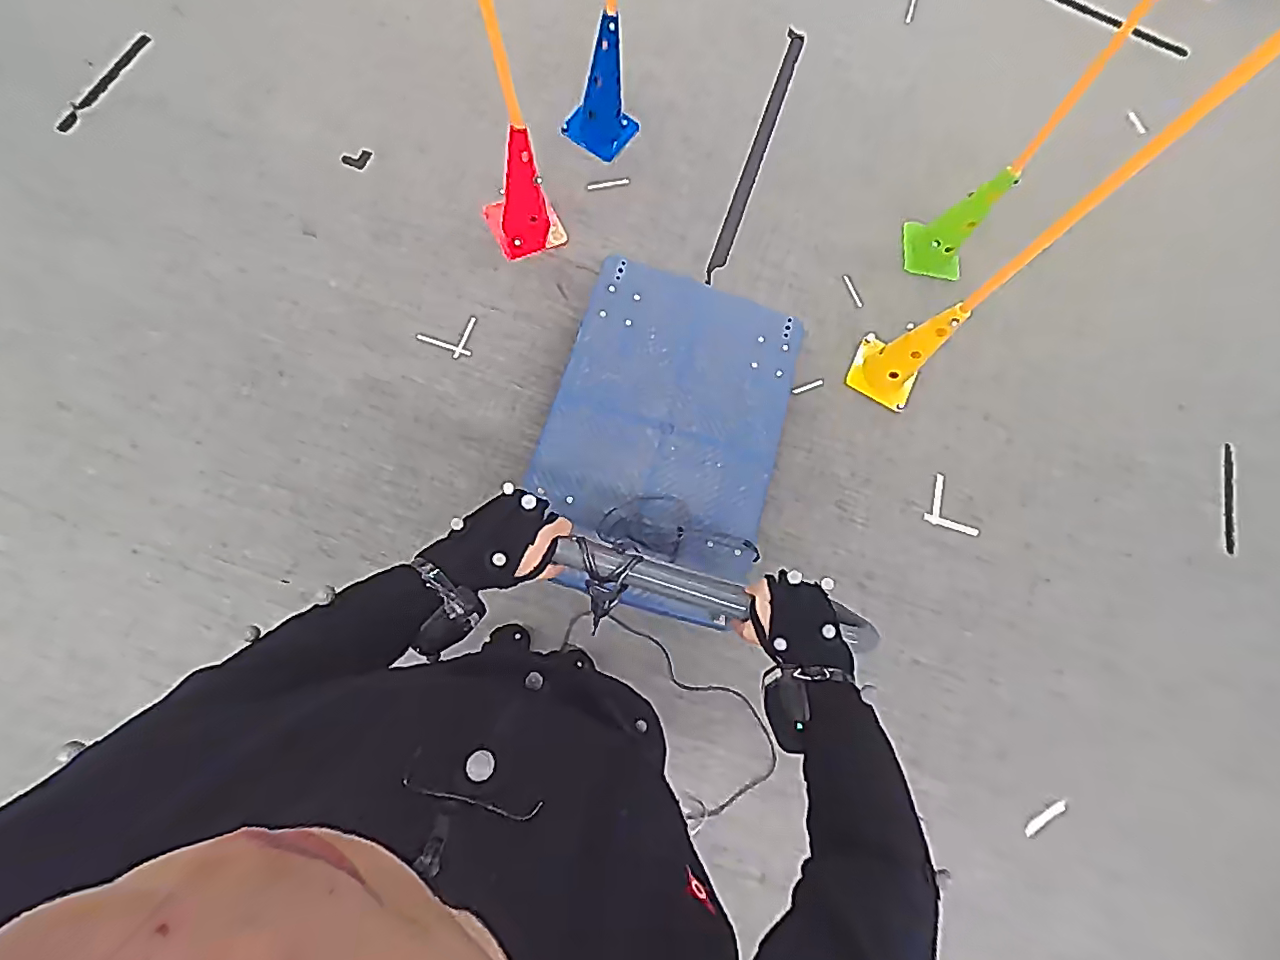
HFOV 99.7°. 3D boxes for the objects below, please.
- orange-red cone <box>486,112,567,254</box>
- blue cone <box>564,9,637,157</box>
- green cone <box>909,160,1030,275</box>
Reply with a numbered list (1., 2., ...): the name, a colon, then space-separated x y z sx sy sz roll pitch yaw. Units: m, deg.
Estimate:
1. orange-red cone: -0.311 -0.821 1.454 0.199 0.360 0.198 -24 81 -15
2. blue cone: -0.102 -1.186 1.594 0.193 0.380 0.192 34 74 1
3. green cone: 1.023 -0.827 1.653 0.200 0.368 0.202 7 76 -7
